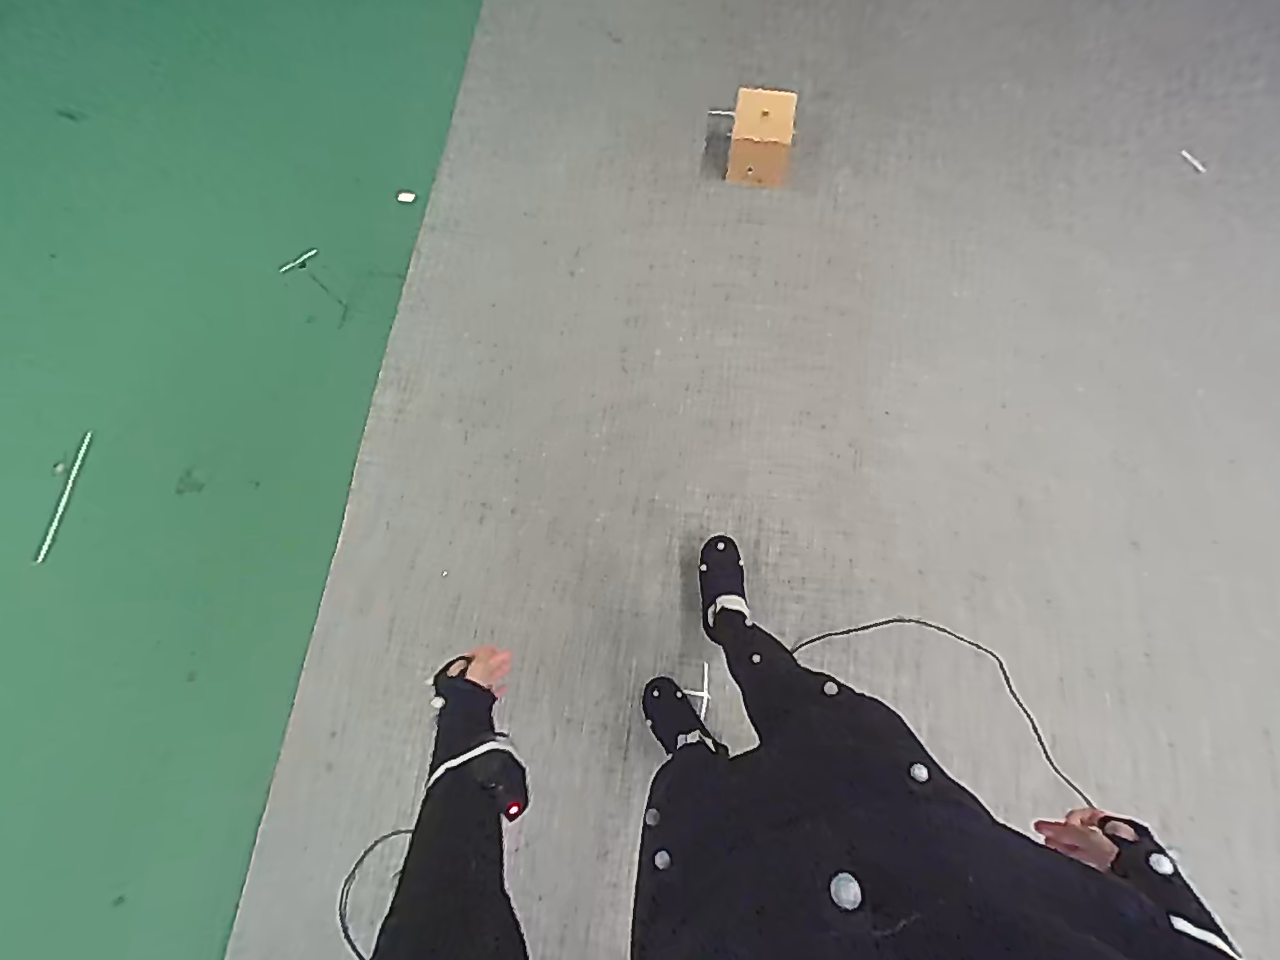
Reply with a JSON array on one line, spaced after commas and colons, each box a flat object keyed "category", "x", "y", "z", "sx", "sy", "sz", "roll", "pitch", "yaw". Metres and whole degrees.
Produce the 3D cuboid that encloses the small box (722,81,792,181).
[{"category": "small box", "x": 0.337, "y": -1.018, "z": 1.585, "sx": 0.168, "sy": 0.176, "sz": 0.179, "roll": 8, "pitch": 78, "yaw": 4}]
